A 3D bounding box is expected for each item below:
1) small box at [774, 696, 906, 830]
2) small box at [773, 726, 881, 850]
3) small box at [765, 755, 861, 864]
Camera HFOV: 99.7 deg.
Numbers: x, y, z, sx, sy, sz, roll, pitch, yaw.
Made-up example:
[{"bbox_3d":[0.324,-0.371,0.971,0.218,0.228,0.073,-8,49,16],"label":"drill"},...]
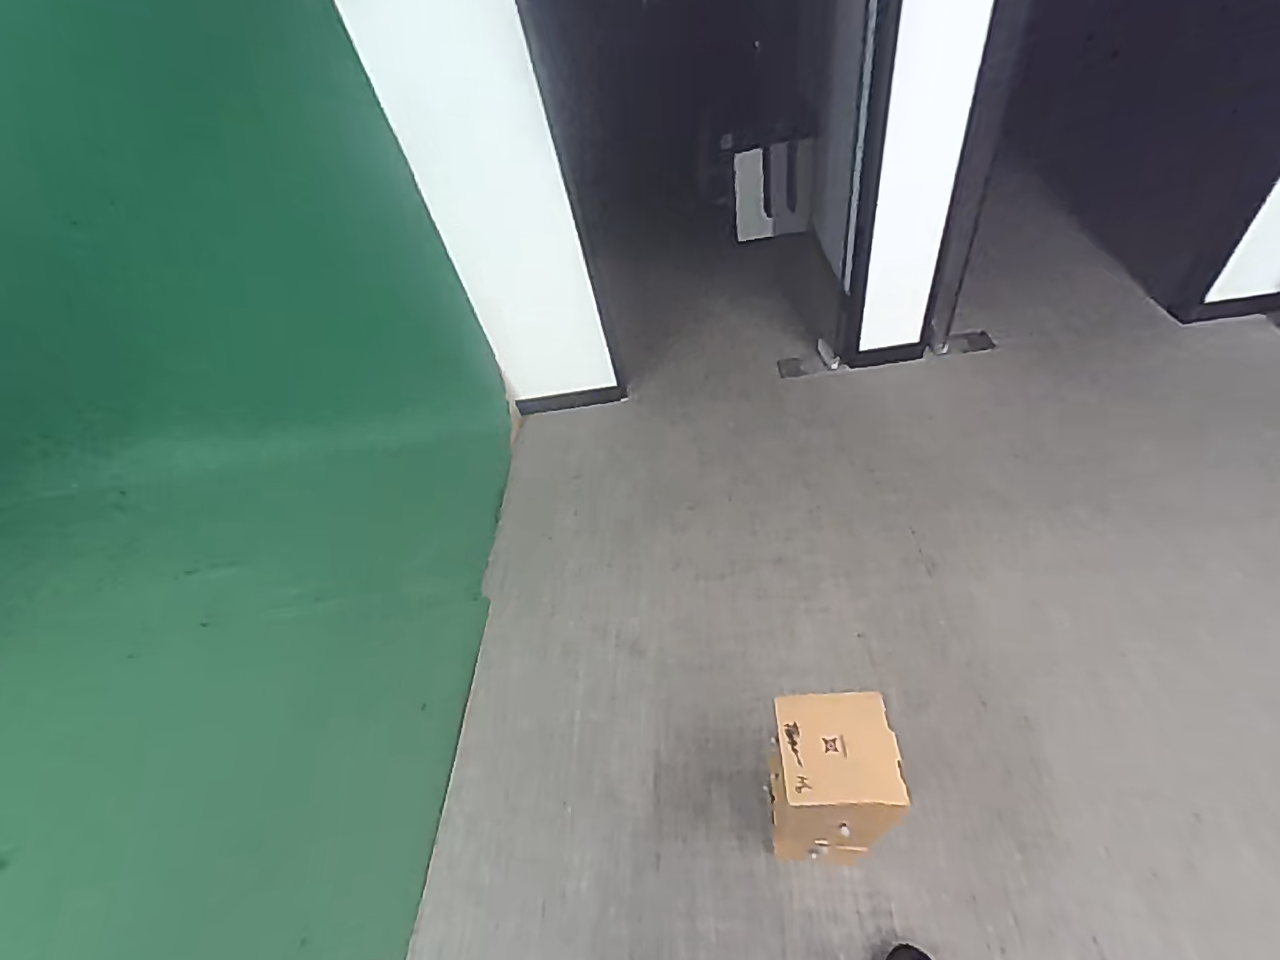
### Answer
[{"bbox_3d":[0.323,0.479,0.914,0.179,0.176,0.168,-6,46,10],"label":"small box"},{"bbox_3d":[0.346,0.587,1.035,0.168,0.176,0.179,-7,47,11],"label":"small box"},{"bbox_3d":[0.363,0.701,1.149,0.179,0.176,0.168,-4,47,10],"label":"small box"}]
